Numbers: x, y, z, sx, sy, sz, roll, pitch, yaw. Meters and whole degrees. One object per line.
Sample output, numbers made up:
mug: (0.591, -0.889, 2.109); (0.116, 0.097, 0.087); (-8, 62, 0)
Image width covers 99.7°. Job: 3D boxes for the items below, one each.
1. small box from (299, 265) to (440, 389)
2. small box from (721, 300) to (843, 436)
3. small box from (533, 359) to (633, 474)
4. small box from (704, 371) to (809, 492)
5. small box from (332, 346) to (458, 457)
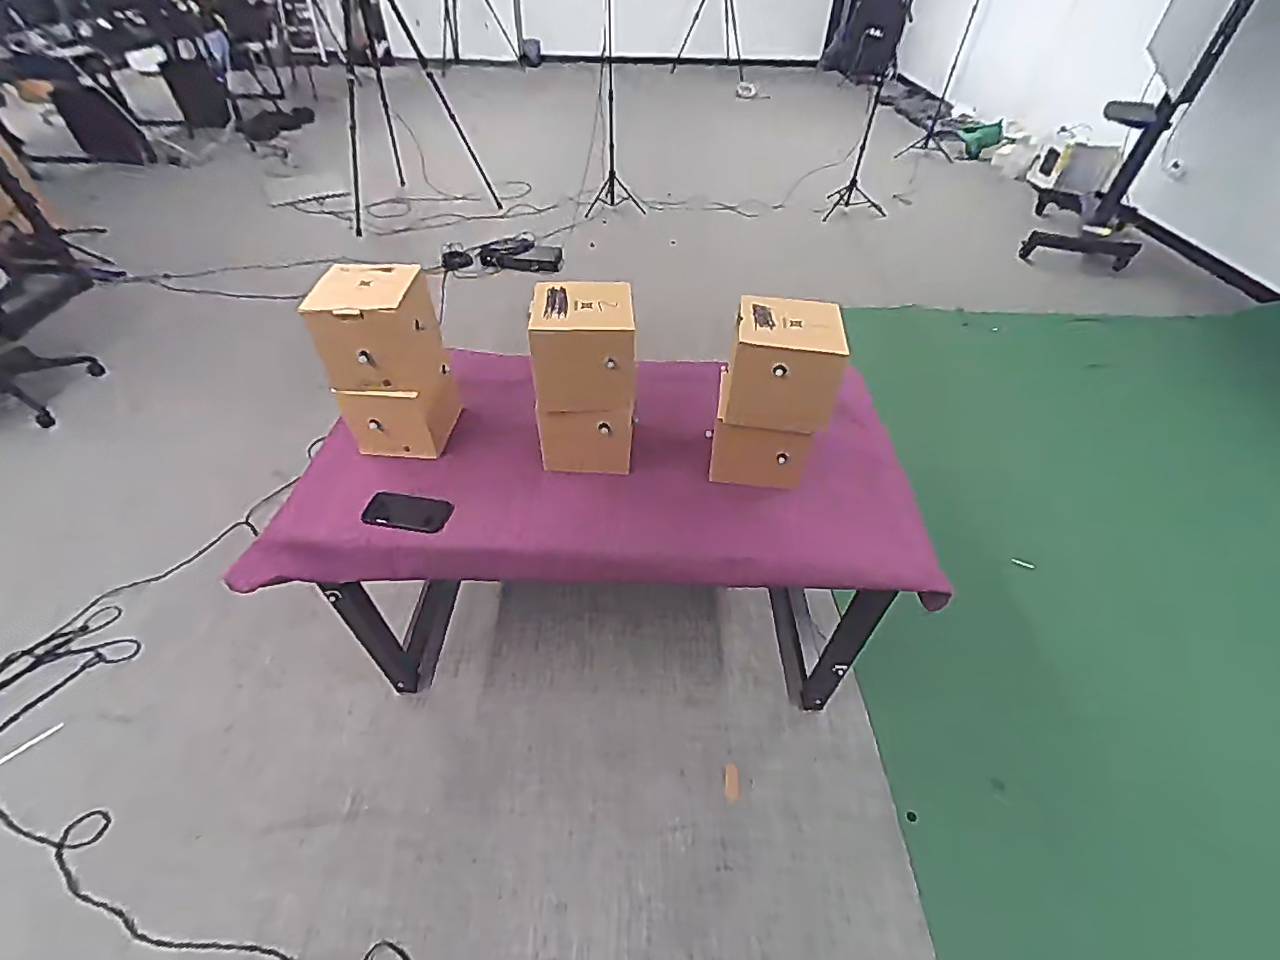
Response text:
small box: (-0.492, -0.286, 1.018); (0.168, 0.176, 0.179); (1, 47, -2)
small box: (0.243, -0.197, 0.961); (0.179, 0.176, 0.168); (8, 46, 5)
small box: (-0.108, -0.127, 1.106); (0.179, 0.176, 0.168); (3, 46, 2)
small box: (0.231, -0.094, 1.089); (0.179, 0.176, 0.168); (8, 46, 6)
small box: (-0.496, -0.165, 1.130); (0.168, 0.176, 0.179); (4, 46, 2)
